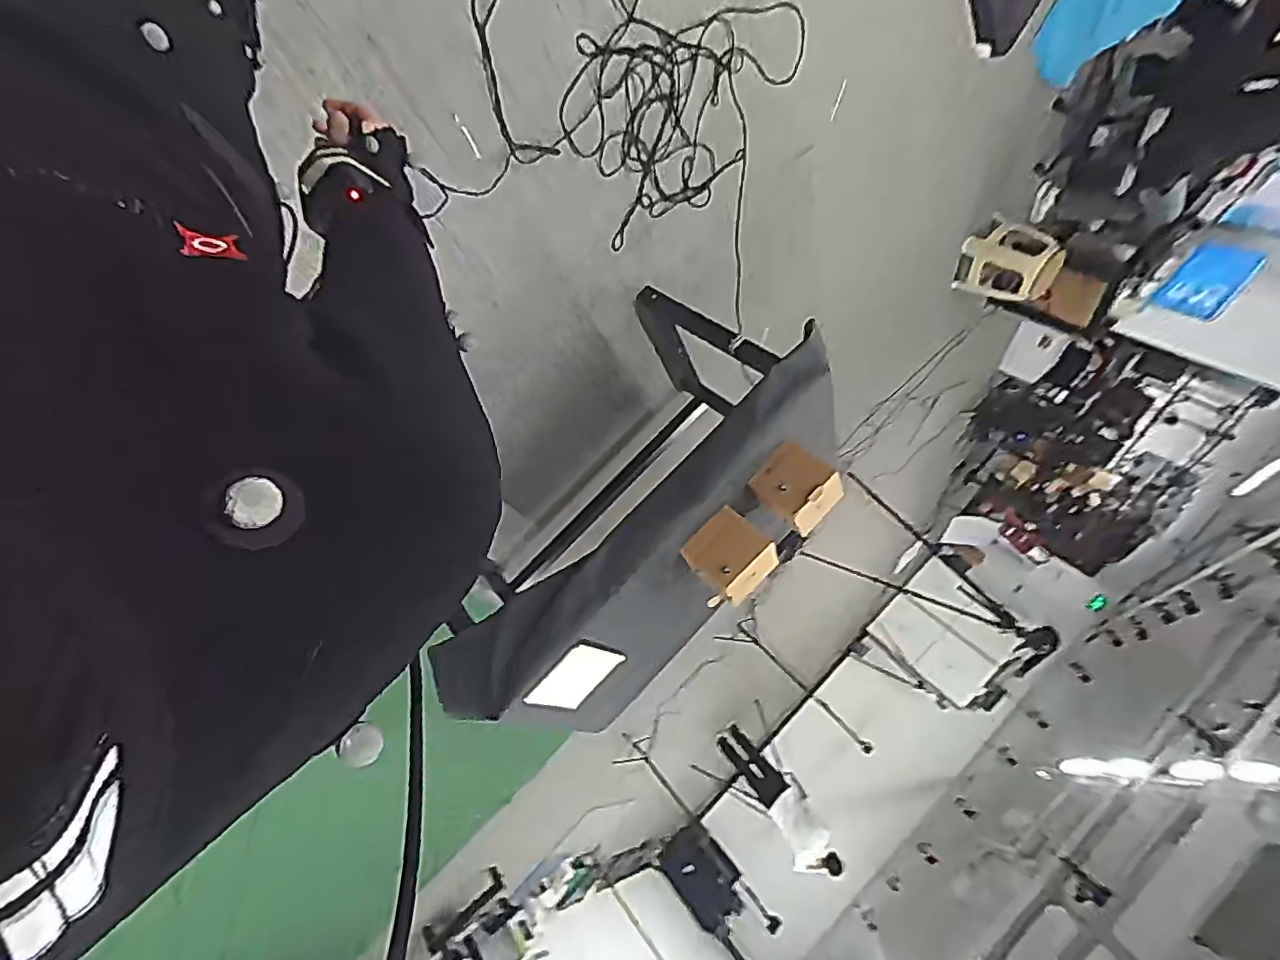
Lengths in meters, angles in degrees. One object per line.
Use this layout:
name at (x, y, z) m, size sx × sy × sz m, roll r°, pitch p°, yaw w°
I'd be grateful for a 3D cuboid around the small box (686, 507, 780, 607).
small box at (0.249, 0.202, 1.445) m, size 0.179 × 0.176 × 0.168 m, roll -43°, pitch 147°, yaw -7°

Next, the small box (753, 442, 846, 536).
small box at (0.432, 0.020, 1.472) m, size 0.168 × 0.176 × 0.179 m, roll -48°, pitch 148°, yaw 0°
